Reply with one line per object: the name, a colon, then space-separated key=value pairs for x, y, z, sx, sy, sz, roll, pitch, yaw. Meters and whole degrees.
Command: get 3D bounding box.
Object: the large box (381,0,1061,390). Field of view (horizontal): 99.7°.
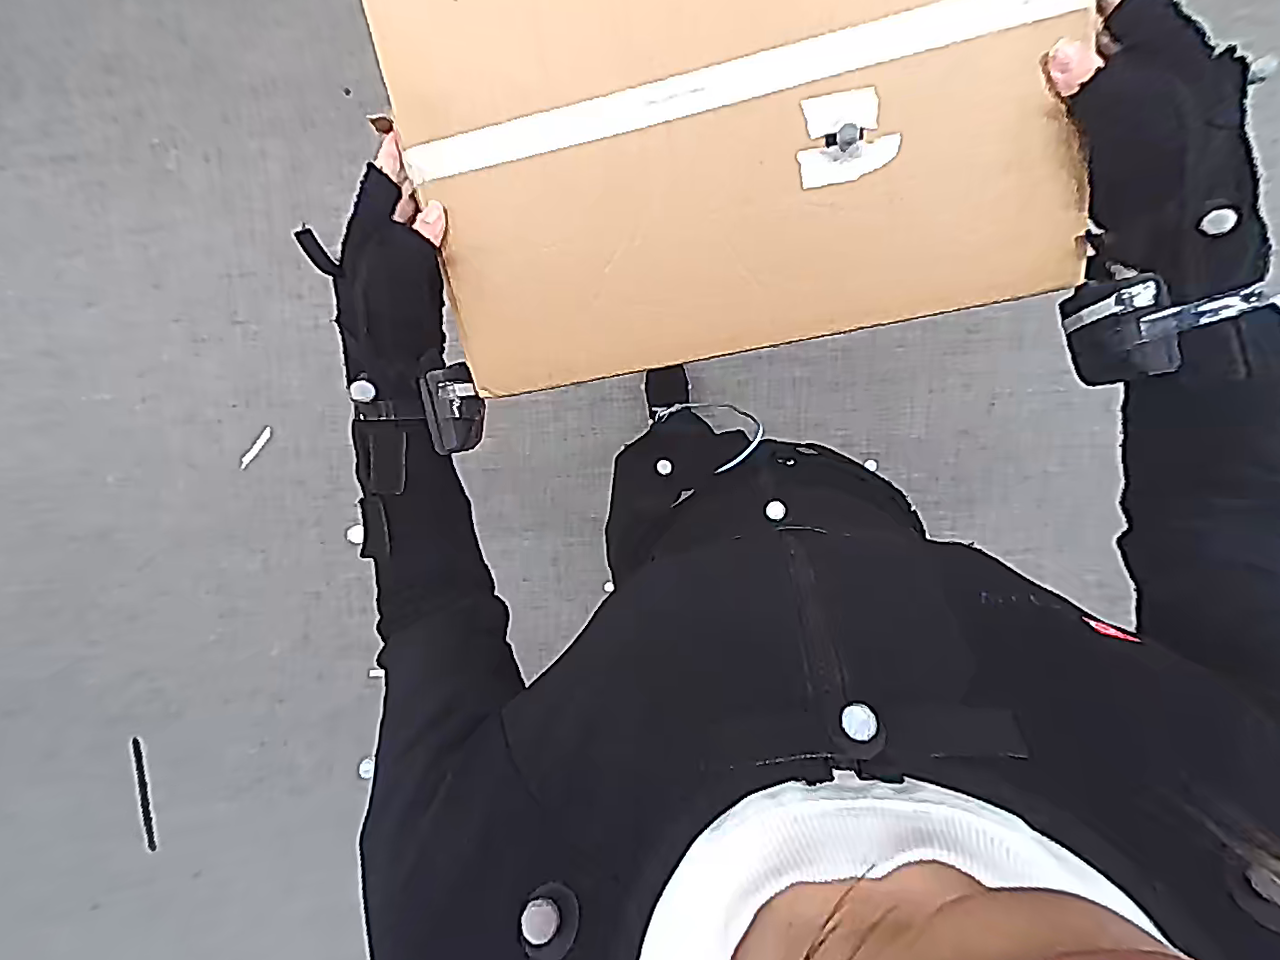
large box: x=0.060 y=-0.288 z=0.482 sx=0.408 sy=0.320 sz=0.320 roll=-10 pitch=107 yaw=7
